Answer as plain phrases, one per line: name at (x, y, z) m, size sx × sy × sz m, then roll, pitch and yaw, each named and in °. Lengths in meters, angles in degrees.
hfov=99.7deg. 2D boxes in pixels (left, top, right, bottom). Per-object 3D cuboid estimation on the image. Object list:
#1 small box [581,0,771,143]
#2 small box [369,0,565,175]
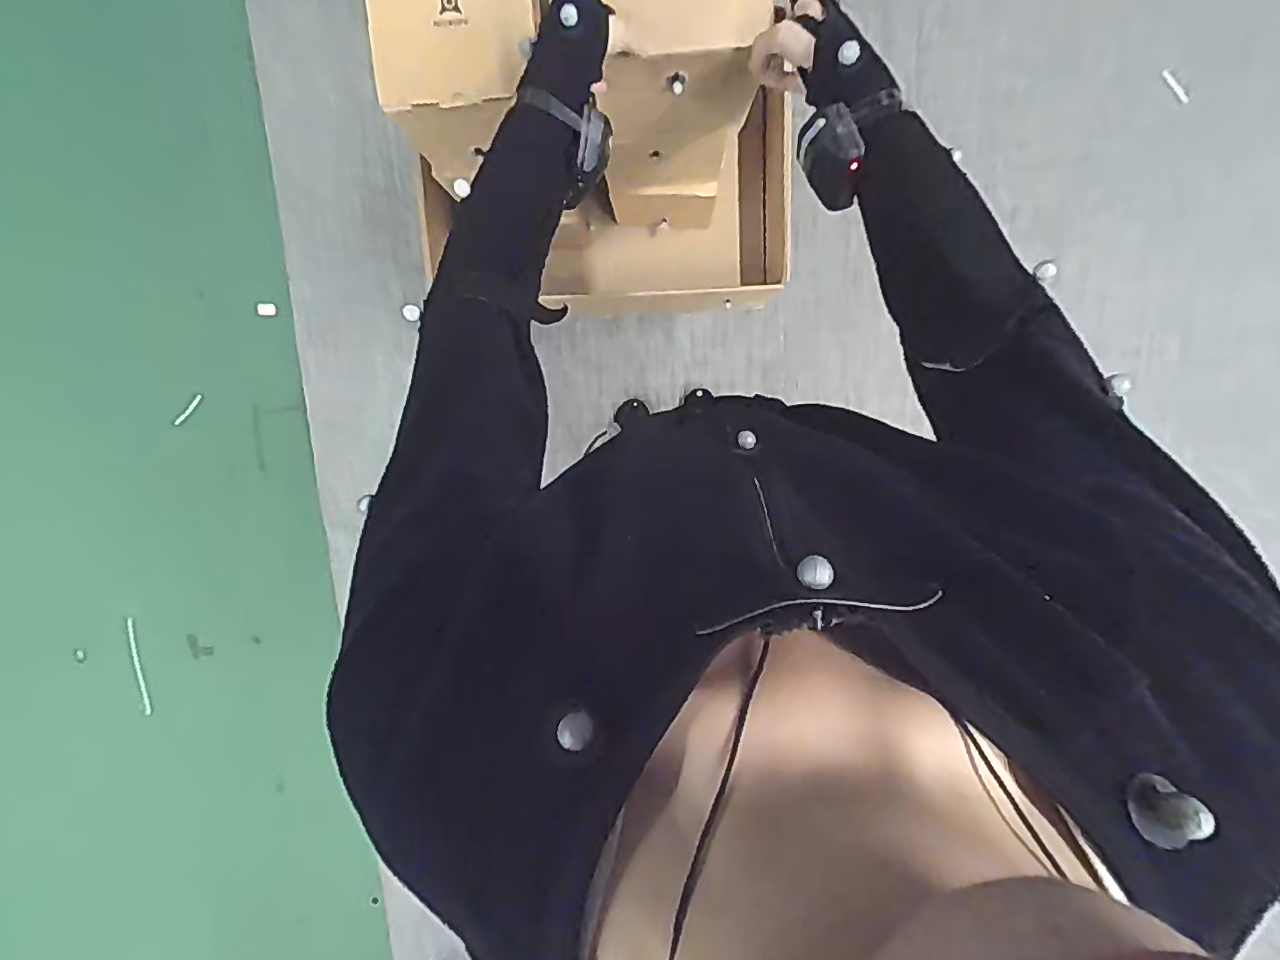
small box at (0.031, -0.485, 0.573) m, size 0.179 × 0.176 × 0.168 m, roll -4°, pitch 97°, yaw 0°
small box at (-0.184, -0.476, 0.612) m, size 0.168 × 0.176 × 0.179 m, roll -4°, pitch 99°, yaw 2°
